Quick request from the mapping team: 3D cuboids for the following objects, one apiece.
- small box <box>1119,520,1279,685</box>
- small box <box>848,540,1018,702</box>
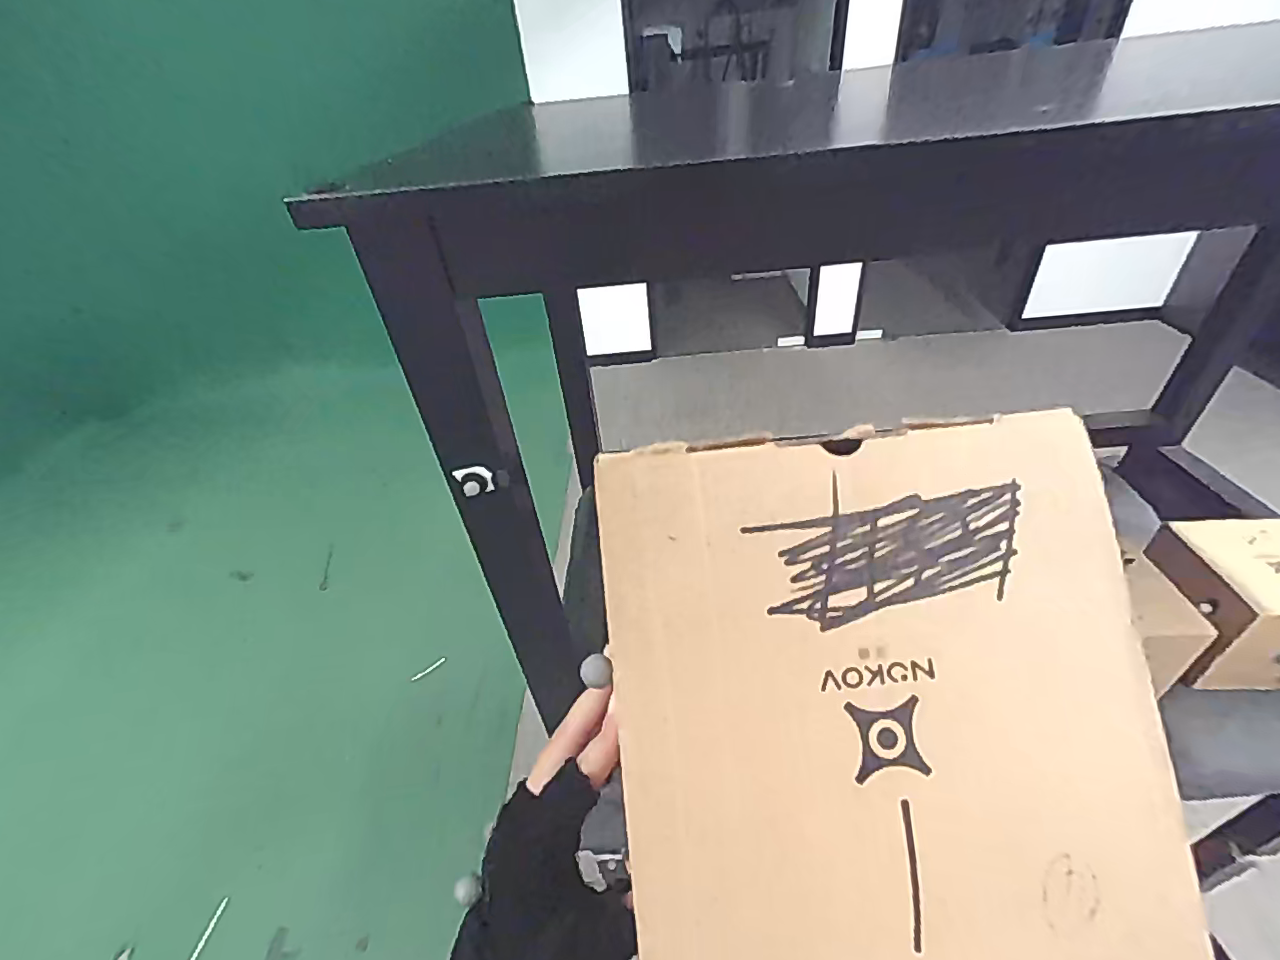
[{"bbox_3d":[0.858,0.178,0.776,0.168,0.176,0.179,-2,38,6],"label":"small box"},{"bbox_3d":[0.419,0.210,0.809,0.168,0.176,0.179,0,38,9],"label":"small box"}]
